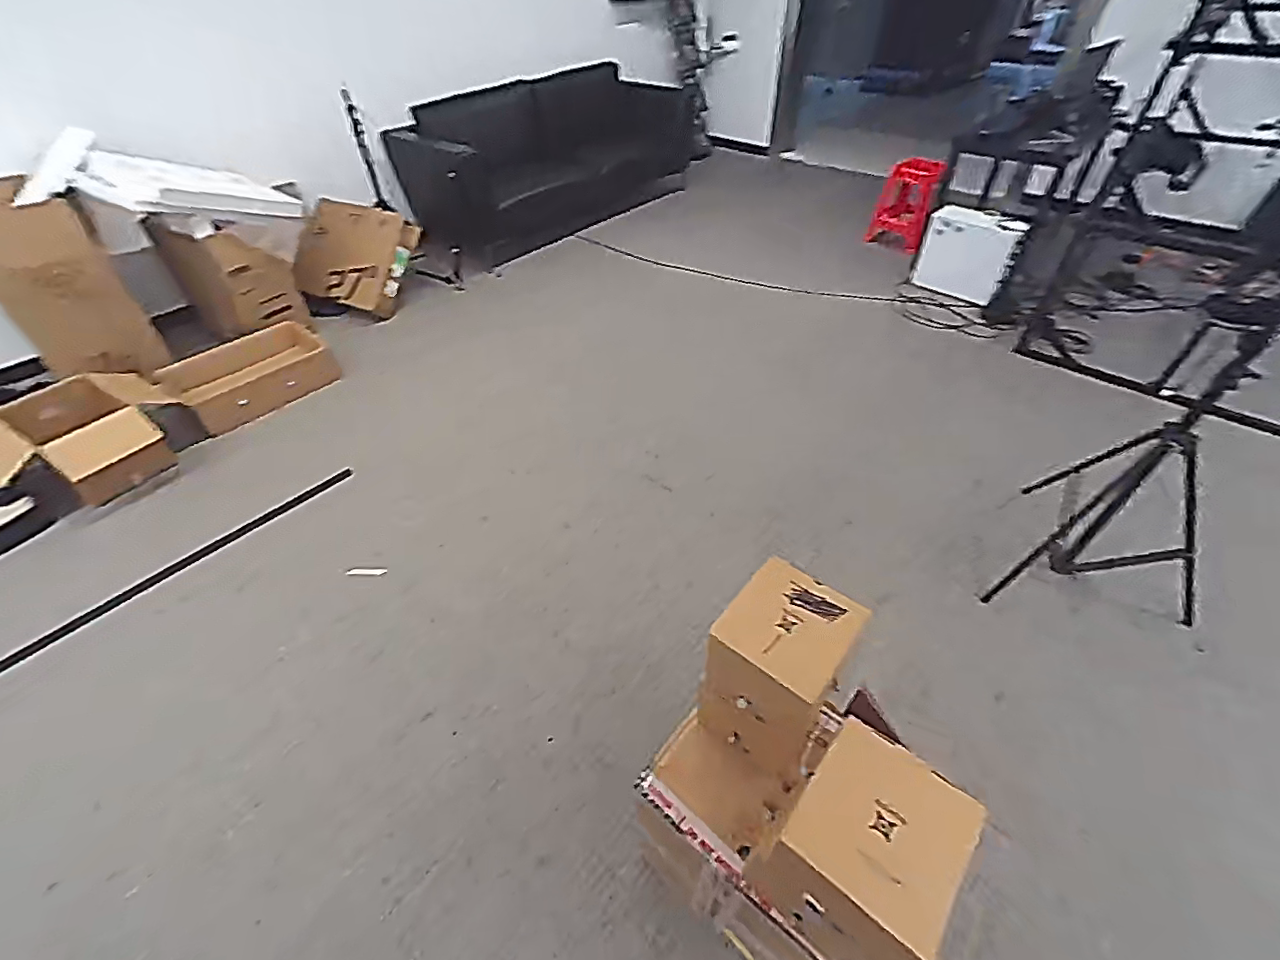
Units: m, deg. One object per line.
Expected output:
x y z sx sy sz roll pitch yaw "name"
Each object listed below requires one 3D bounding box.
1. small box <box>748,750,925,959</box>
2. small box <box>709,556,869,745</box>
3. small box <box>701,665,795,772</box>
0.269 0.537 0.773 0.168 0.176 0.179 31 55 28 "small box"
0.214 0.257 0.819 0.168 0.176 0.179 30 55 30 "small box"
0.216 0.364 0.945 0.168 0.176 0.179 26 53 28 "small box"
